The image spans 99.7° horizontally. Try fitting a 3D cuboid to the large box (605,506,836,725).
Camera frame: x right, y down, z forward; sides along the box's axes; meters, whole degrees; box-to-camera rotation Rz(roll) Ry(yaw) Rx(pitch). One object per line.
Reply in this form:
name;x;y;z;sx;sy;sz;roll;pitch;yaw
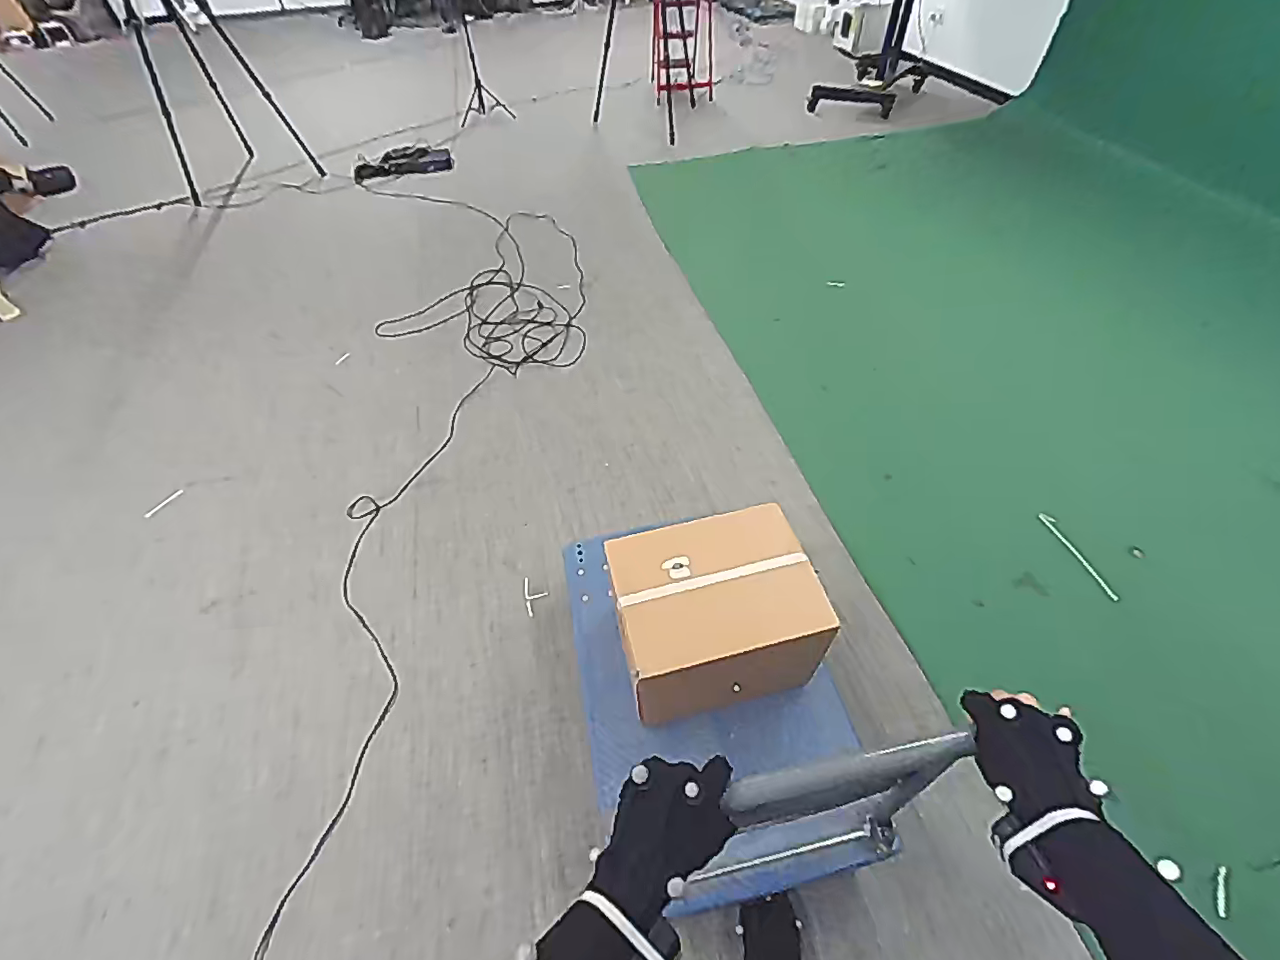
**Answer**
large box;0.159;0.308;1.222;0.408;0.320;0.320;-13;50;-7
